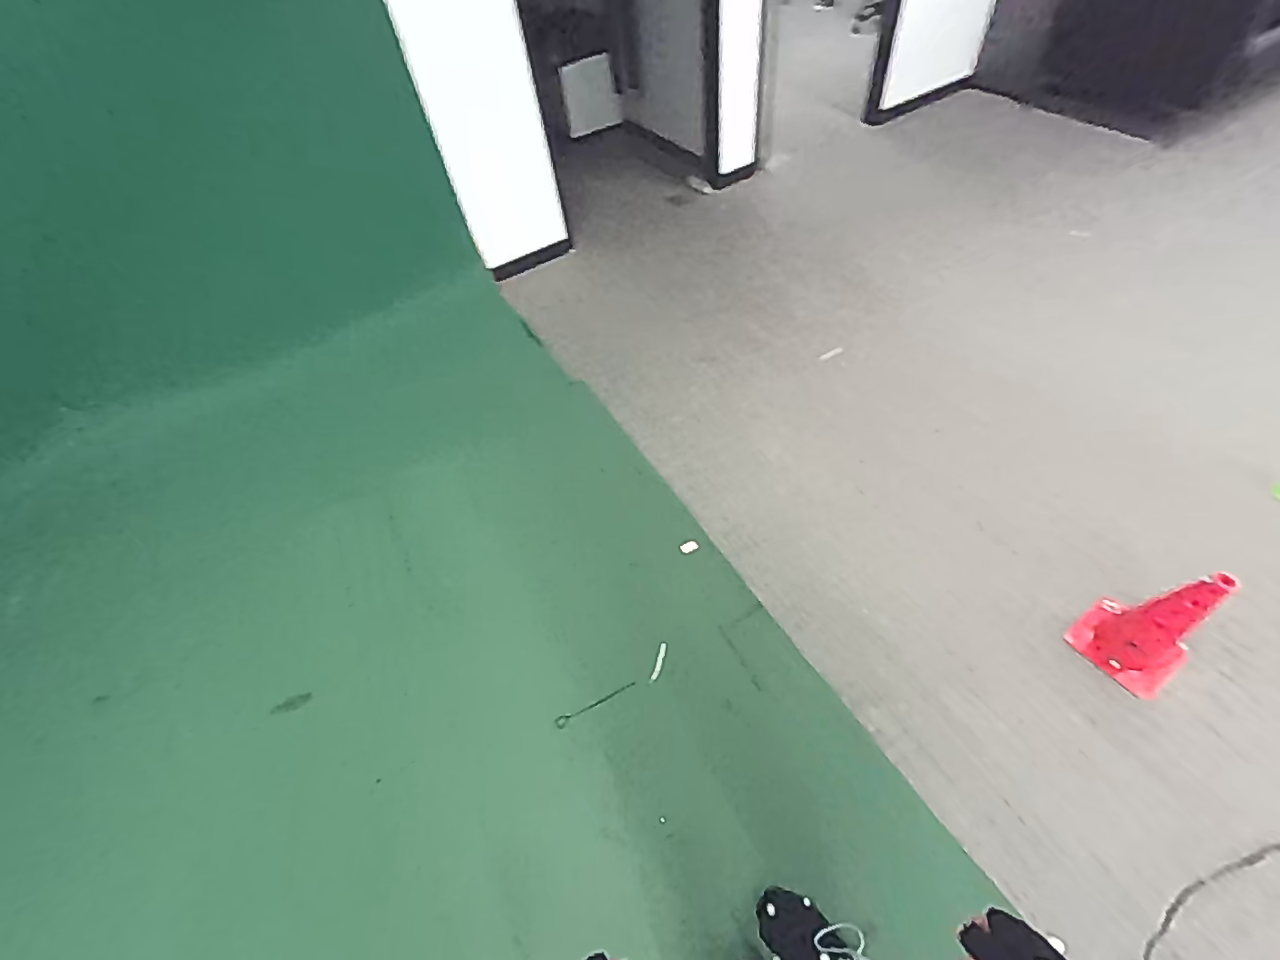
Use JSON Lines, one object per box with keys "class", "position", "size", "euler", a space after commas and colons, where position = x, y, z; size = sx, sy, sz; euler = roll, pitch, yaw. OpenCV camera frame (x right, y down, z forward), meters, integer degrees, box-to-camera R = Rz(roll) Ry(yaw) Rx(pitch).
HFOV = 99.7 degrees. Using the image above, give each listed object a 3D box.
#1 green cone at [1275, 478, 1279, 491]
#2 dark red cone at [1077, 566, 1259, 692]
{"class": "green cone", "position": [1.949, -0.065, 1.404], "size": [0.200, 0.368, 0.202], "euler": [-30, 55, -14]}
{"class": "dark red cone", "position": [1.207, 0.295, 1.208], "size": [0.201, 0.394, 0.202], "euler": [-34, 55, -15]}
